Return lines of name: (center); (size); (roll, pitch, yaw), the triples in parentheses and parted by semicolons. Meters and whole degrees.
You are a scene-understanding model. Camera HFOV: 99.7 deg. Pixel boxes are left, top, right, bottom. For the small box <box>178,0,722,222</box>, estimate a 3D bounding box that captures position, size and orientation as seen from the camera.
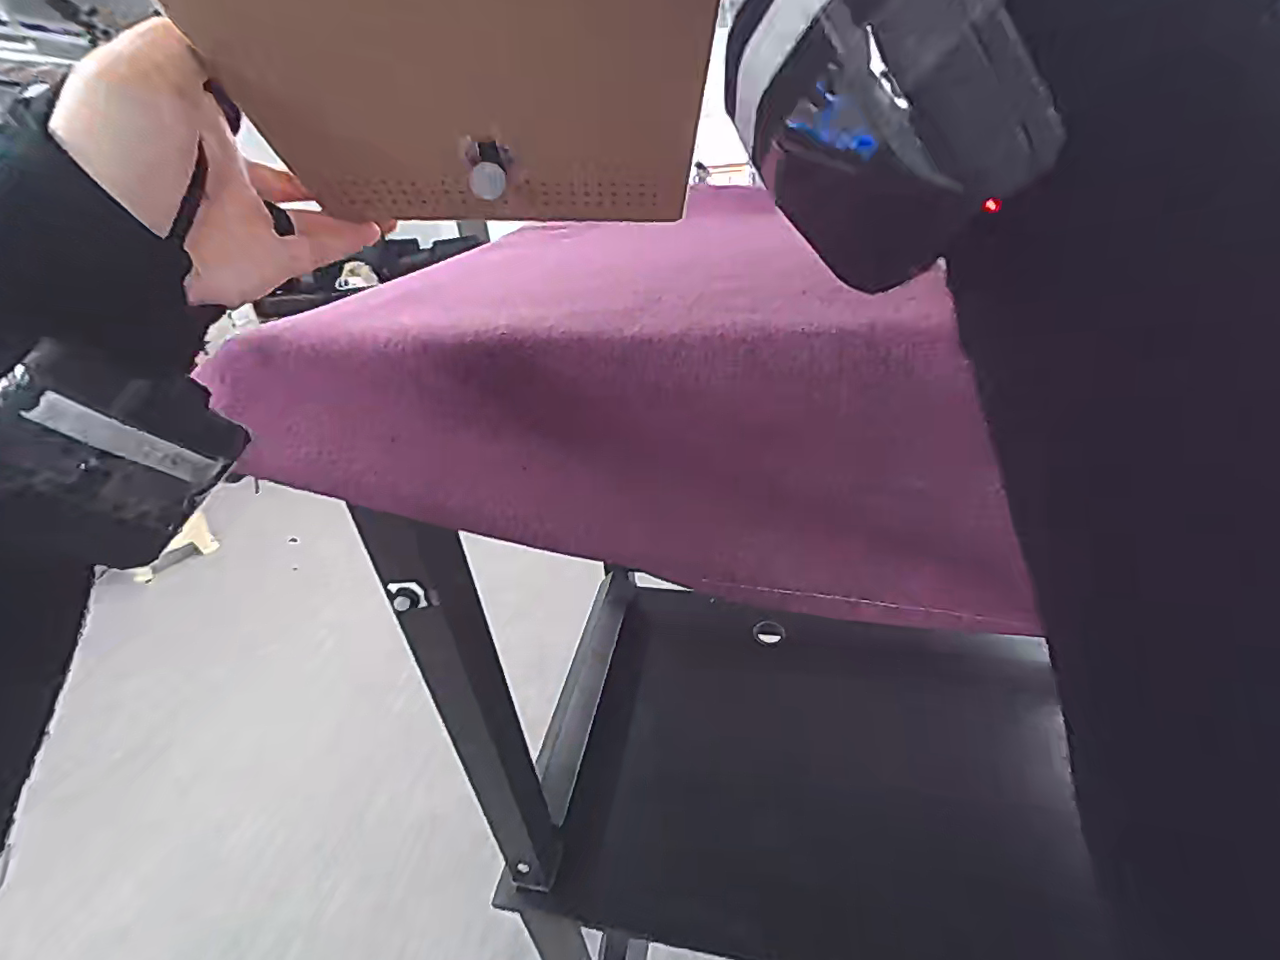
small box: (-0.060, -0.222, 0.202); (0.179, 0.168, 0.176); (0, -13, -3)
